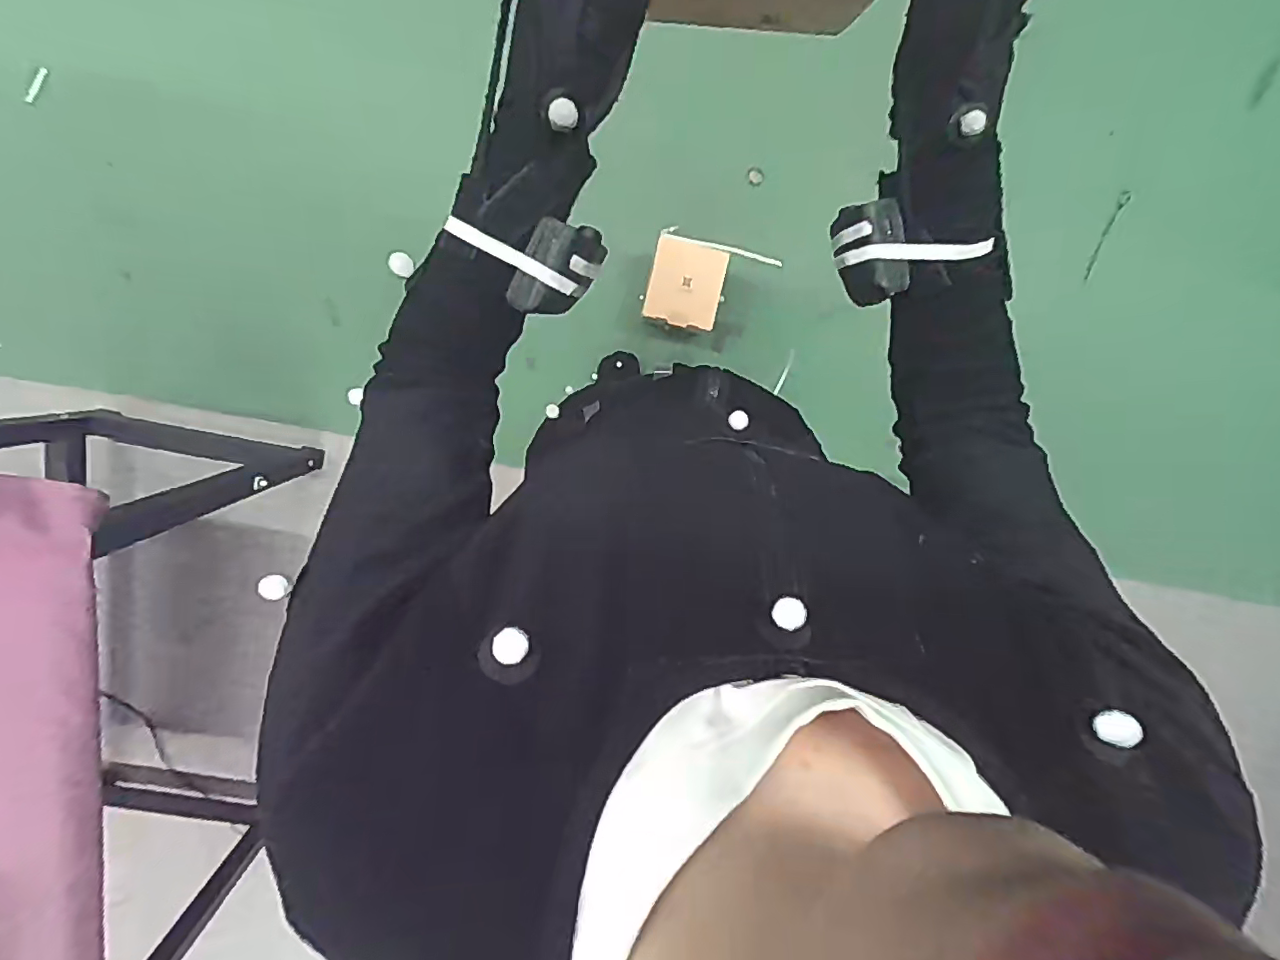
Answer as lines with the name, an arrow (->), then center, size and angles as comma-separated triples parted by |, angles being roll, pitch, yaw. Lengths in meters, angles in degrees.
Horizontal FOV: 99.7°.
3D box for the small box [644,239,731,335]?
small box -> 0.105, -0.456, 1.304 | 0.168, 0.176, 0.179 | 12, 102, -4
